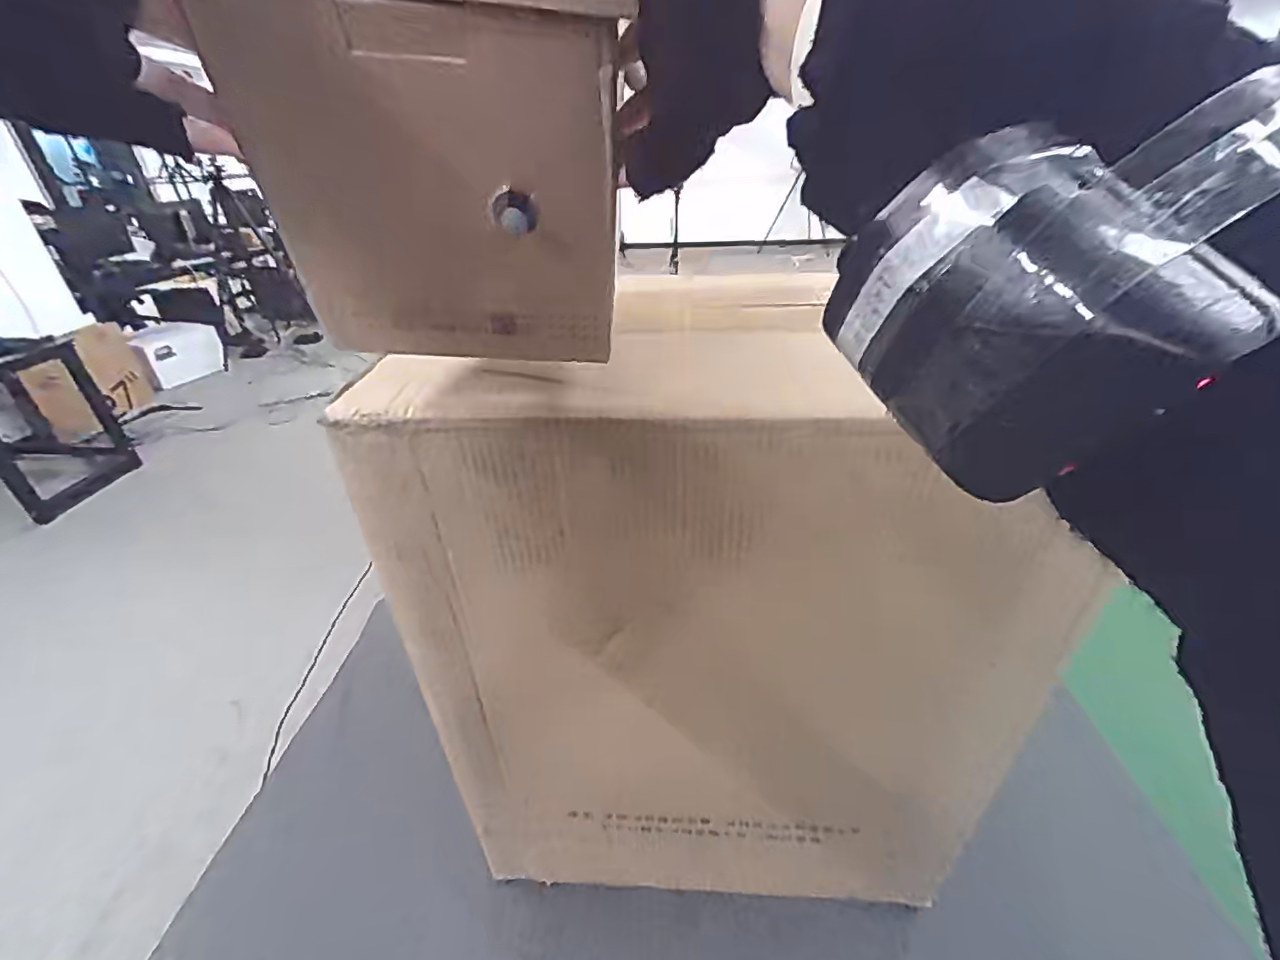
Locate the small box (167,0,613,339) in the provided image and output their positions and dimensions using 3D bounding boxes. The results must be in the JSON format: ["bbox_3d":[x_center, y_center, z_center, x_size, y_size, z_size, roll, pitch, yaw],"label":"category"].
[{"bbox_3d":[-0.100,-0.197,0.313,0.168,0.176,0.179,-1,52,-4],"label":"small box"}]

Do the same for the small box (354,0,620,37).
[{"bbox_3d":[-0.081,-0.284,0.193,0.179,0.176,0.168,5,51,1],"label":"small box"}]
